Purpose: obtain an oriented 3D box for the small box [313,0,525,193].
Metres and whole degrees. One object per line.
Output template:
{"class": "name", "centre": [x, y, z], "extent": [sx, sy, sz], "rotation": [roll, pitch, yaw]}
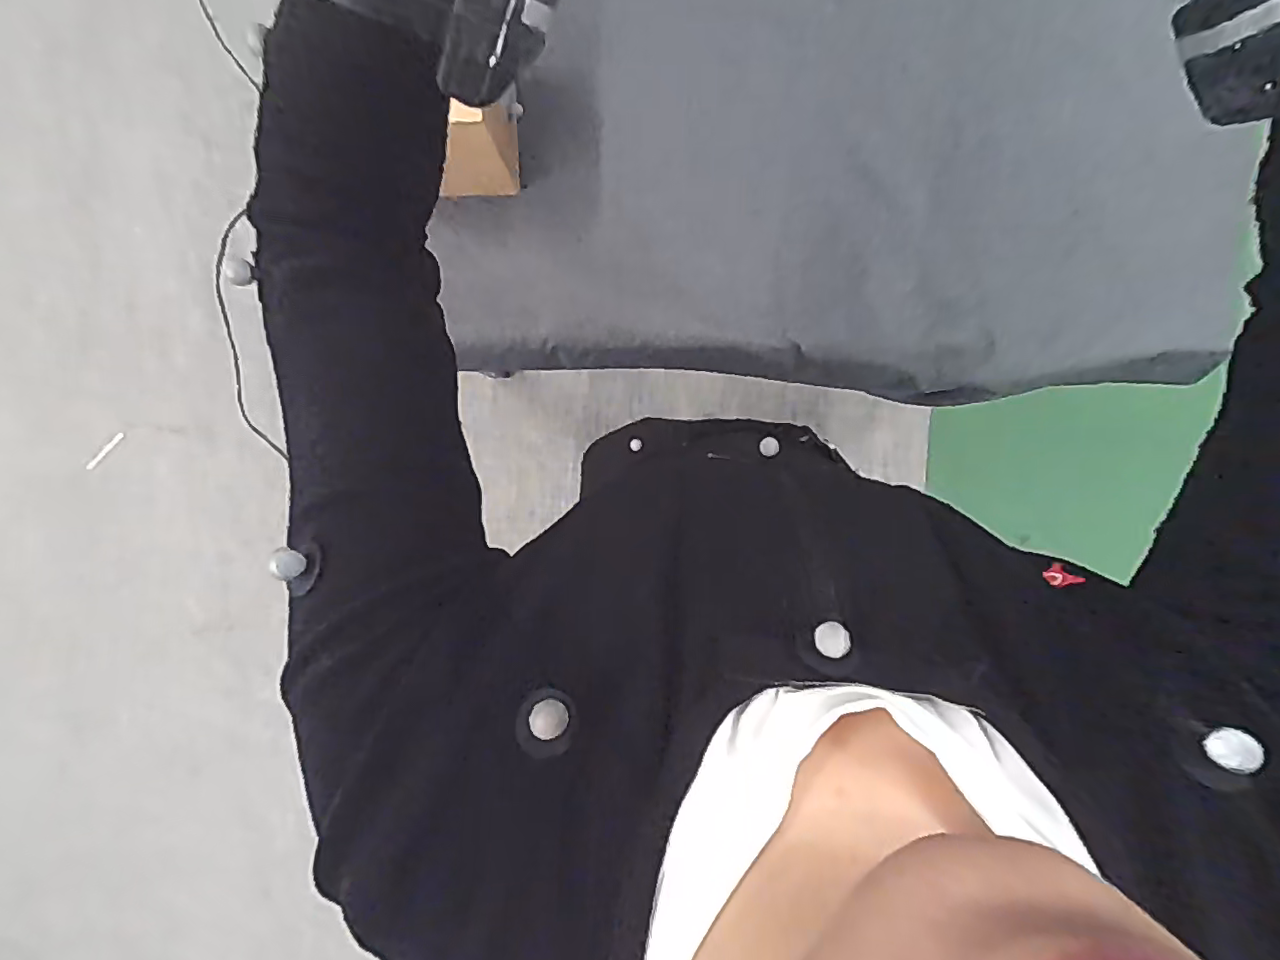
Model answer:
{"class": "small box", "centre": [-0.239, -0.449, 0.622], "extent": [0.179, 0.176, 0.168], "rotation": [-1, 95, 0]}
